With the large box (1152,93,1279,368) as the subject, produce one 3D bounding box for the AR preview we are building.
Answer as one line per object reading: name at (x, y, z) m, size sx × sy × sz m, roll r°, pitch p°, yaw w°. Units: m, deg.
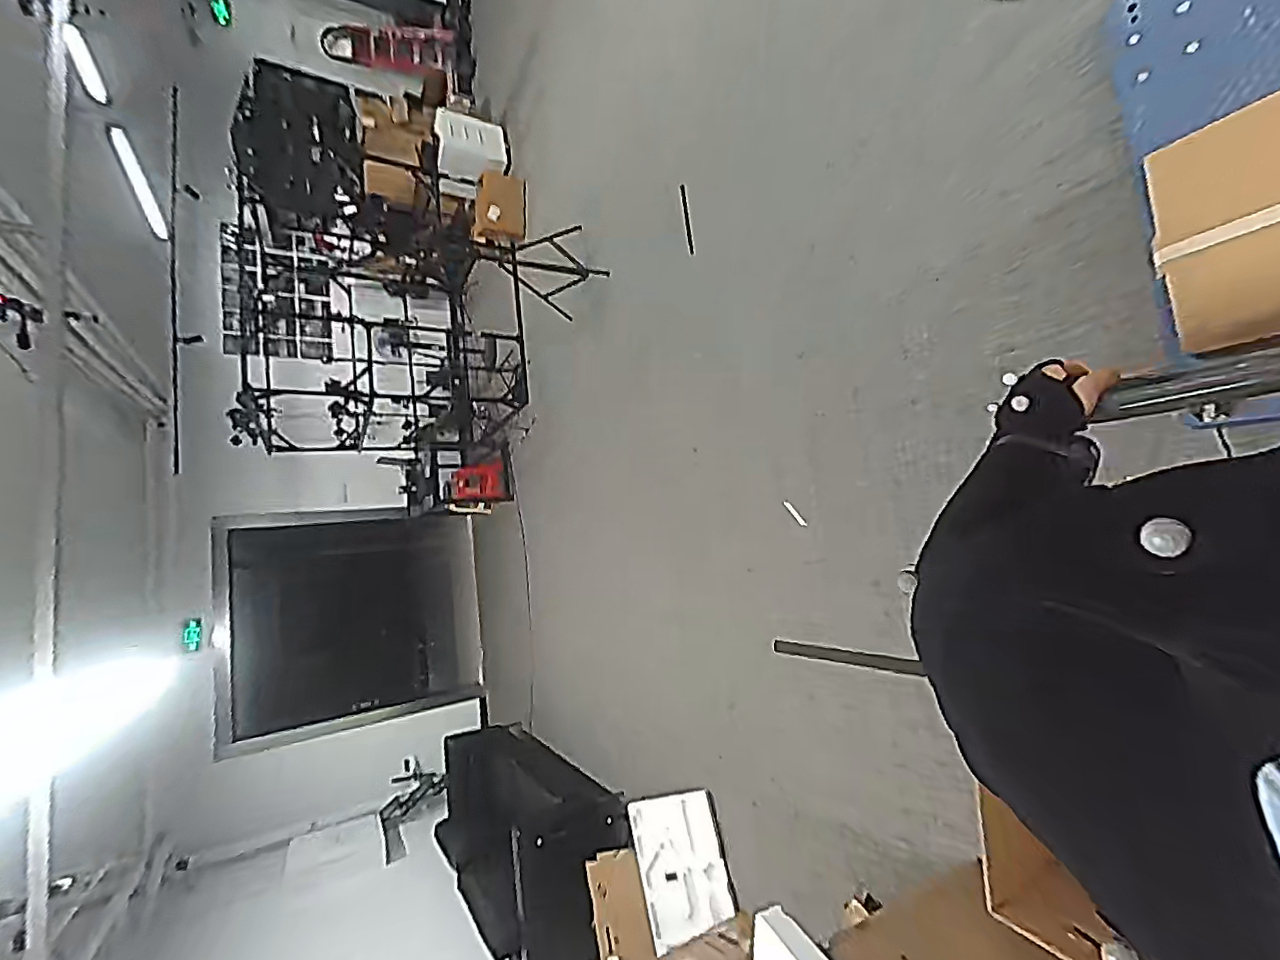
large box at (1.004, -0.363, 0.700) m, size 0.408 × 0.320 × 0.320 m, roll -14°, pitch 81°, yaw 59°
